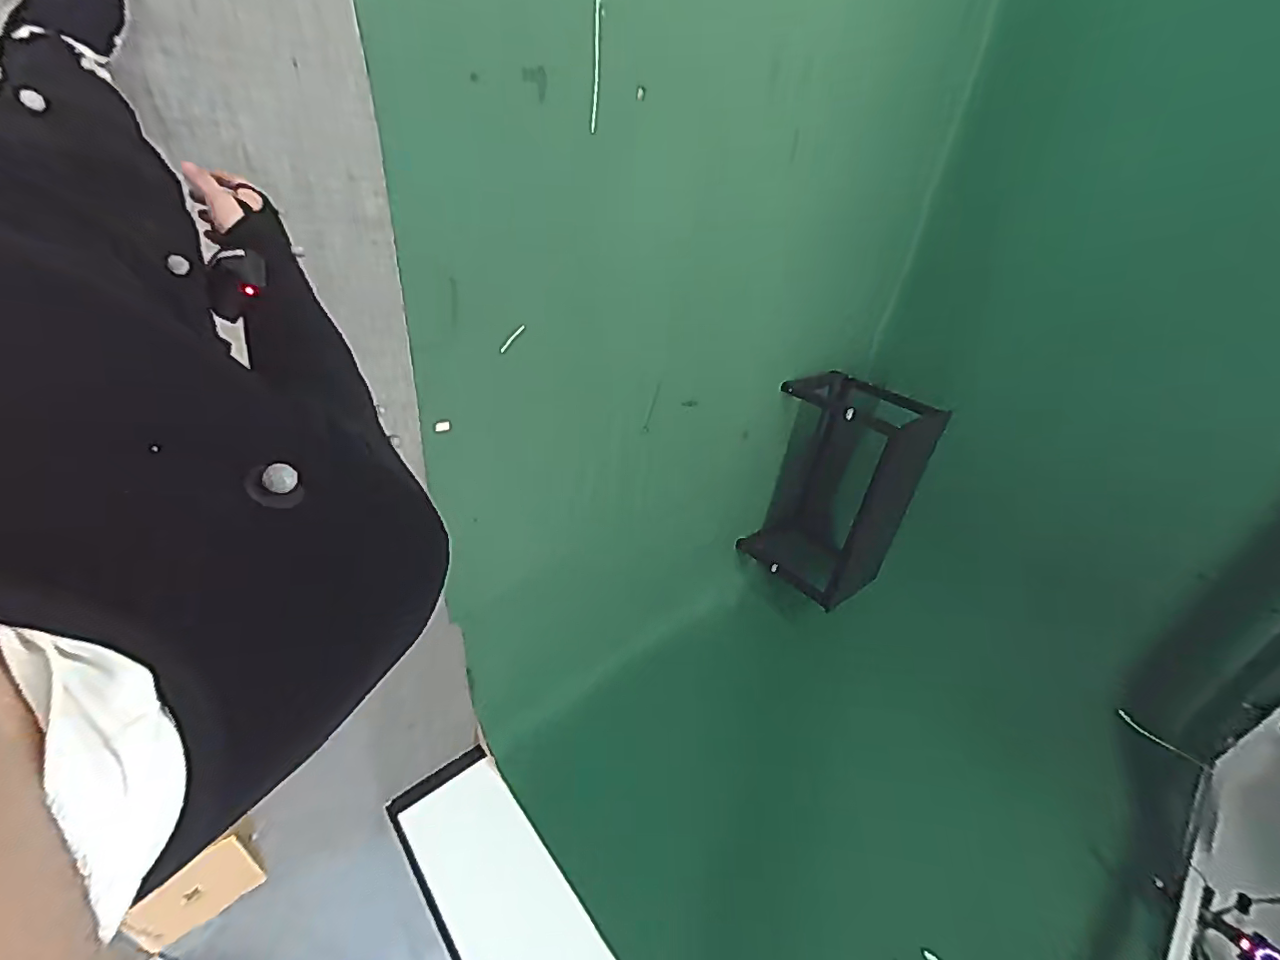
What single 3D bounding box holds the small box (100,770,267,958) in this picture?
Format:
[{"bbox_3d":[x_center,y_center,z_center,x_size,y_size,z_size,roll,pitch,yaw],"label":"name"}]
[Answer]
[{"bbox_3d":[-0.771,0.640,0.920,0.168,0.176,0.179,-24,133,-36],"label":"small box"}]
